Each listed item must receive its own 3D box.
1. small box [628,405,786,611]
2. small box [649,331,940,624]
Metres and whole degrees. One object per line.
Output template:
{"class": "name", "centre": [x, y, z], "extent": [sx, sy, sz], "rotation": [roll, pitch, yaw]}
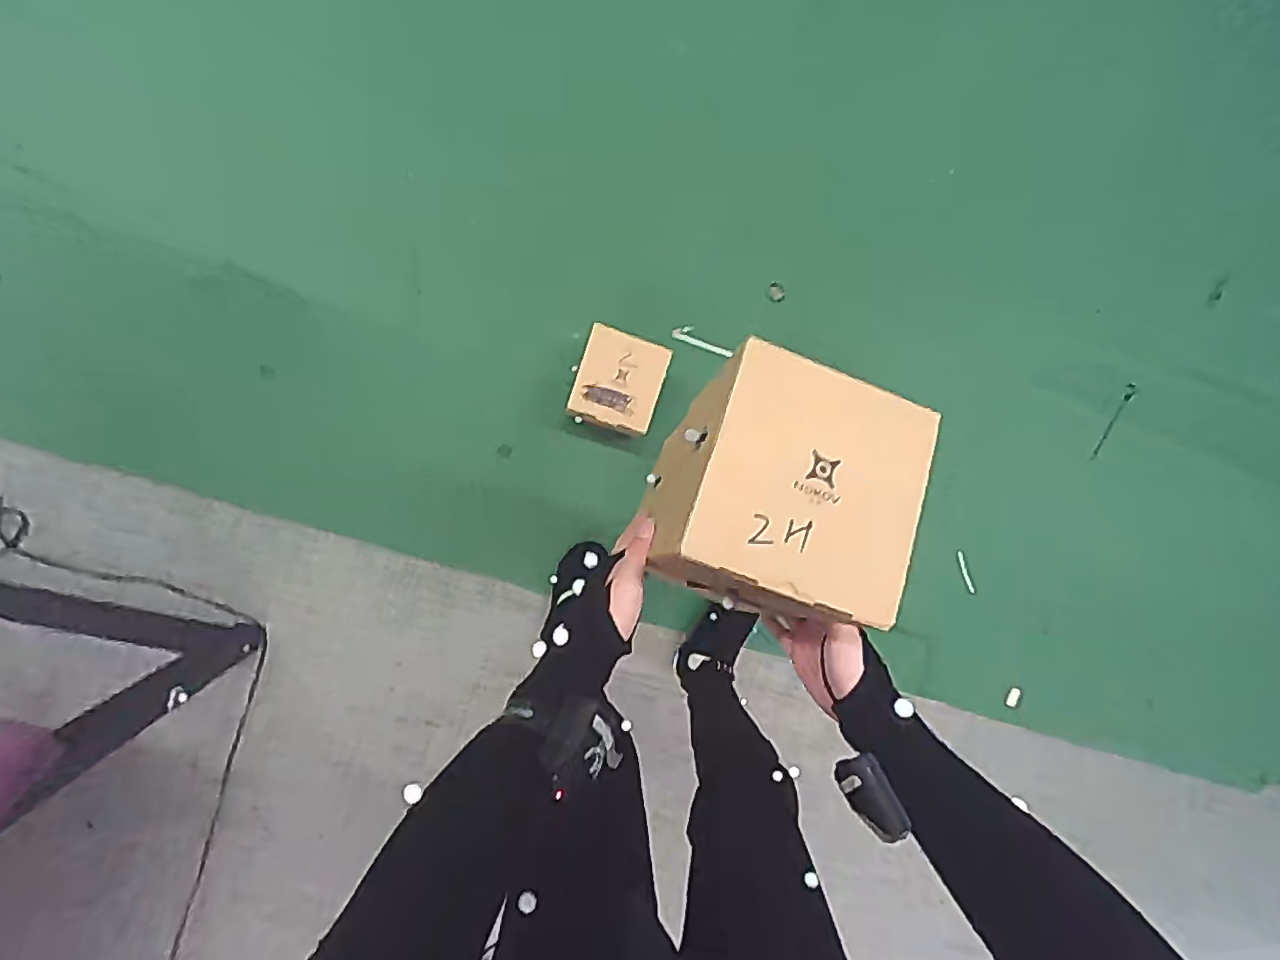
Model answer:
{"class": "small box", "centre": [0.093, 0.037, 0.631], "extent": [0.168, 0.176, 0.179], "rotation": [23, 77, -5]}
{"class": "small box", "centre": [0.118, 0.008, 0.472], "extent": [0.168, 0.176, 0.179], "rotation": [21, 78, -5]}
